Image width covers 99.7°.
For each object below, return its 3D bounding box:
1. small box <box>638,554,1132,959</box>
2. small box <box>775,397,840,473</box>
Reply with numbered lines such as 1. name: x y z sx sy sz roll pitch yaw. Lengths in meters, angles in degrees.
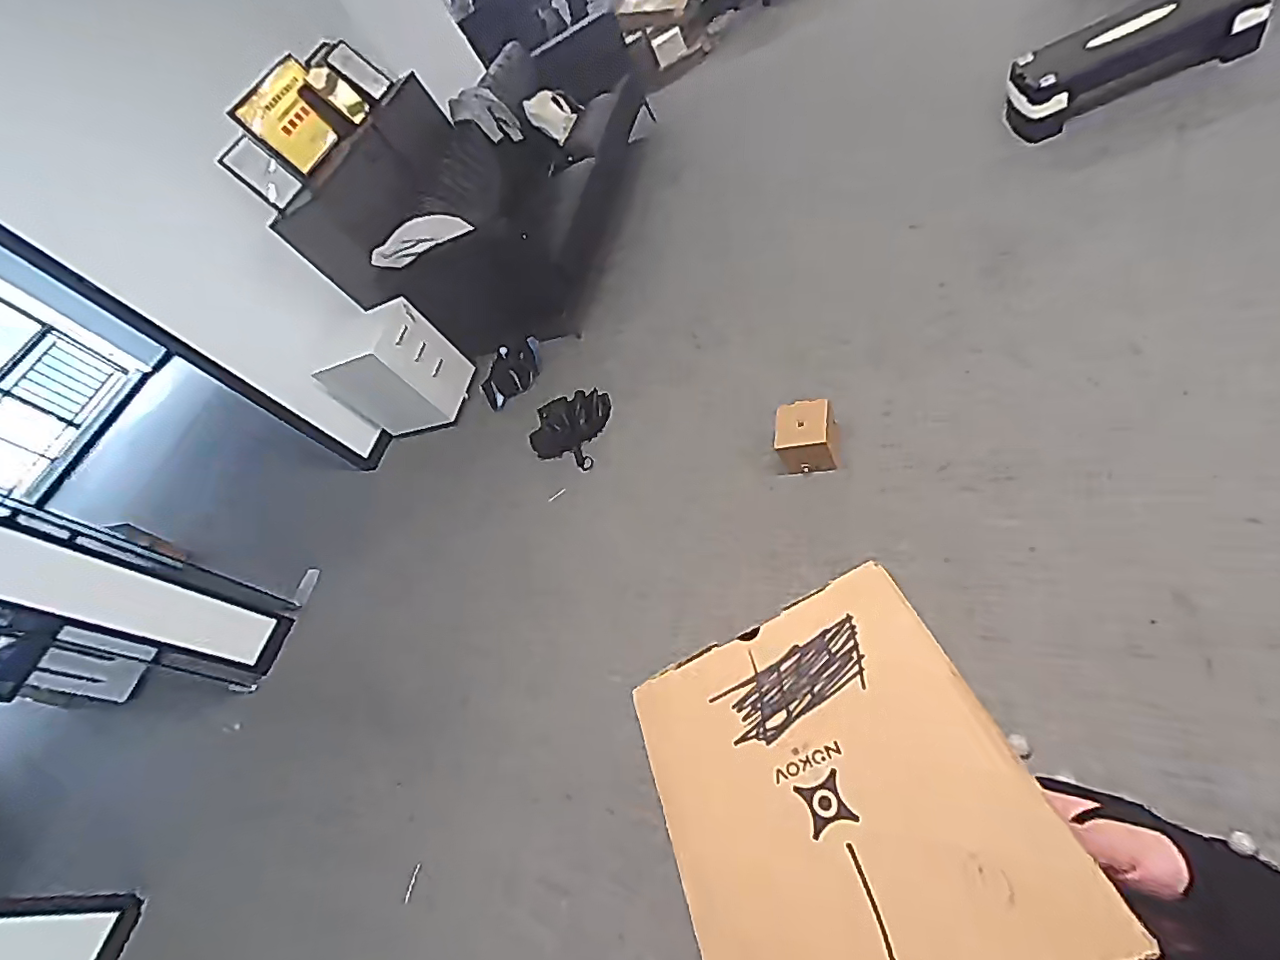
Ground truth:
1. small box: 0.125 0.182 0.321 0.168 0.176 0.179 -32 45 12
2. small box: 0.559 -0.144 1.792 0.168 0.176 0.179 -8 57 31
